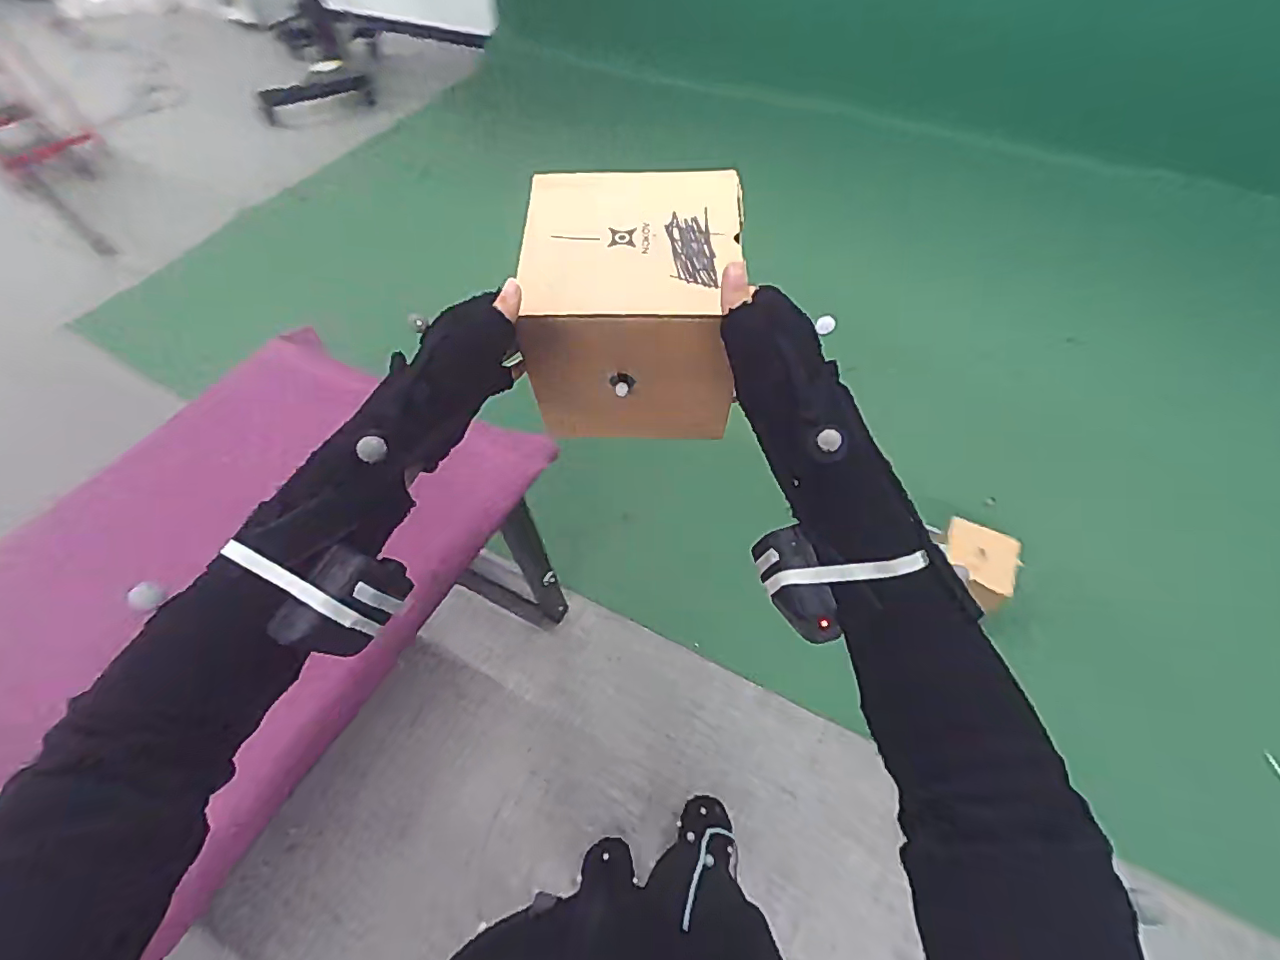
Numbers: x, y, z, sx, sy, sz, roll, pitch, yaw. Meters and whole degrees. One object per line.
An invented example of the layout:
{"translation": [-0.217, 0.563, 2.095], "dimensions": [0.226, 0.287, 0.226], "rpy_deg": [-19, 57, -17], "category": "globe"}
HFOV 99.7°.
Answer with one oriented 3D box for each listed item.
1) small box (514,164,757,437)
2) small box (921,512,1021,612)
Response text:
{"translation": [0.004, -0.153, 0.491], "dimensions": [0.179, 0.176, 0.168], "rpy_deg": [4, 61, 4], "category": "small box"}
{"translation": [0.877, 0.222, 1.444], "dimensions": [0.168, 0.176, 0.179], "rpy_deg": [22, 60, 16], "category": "small box"}
